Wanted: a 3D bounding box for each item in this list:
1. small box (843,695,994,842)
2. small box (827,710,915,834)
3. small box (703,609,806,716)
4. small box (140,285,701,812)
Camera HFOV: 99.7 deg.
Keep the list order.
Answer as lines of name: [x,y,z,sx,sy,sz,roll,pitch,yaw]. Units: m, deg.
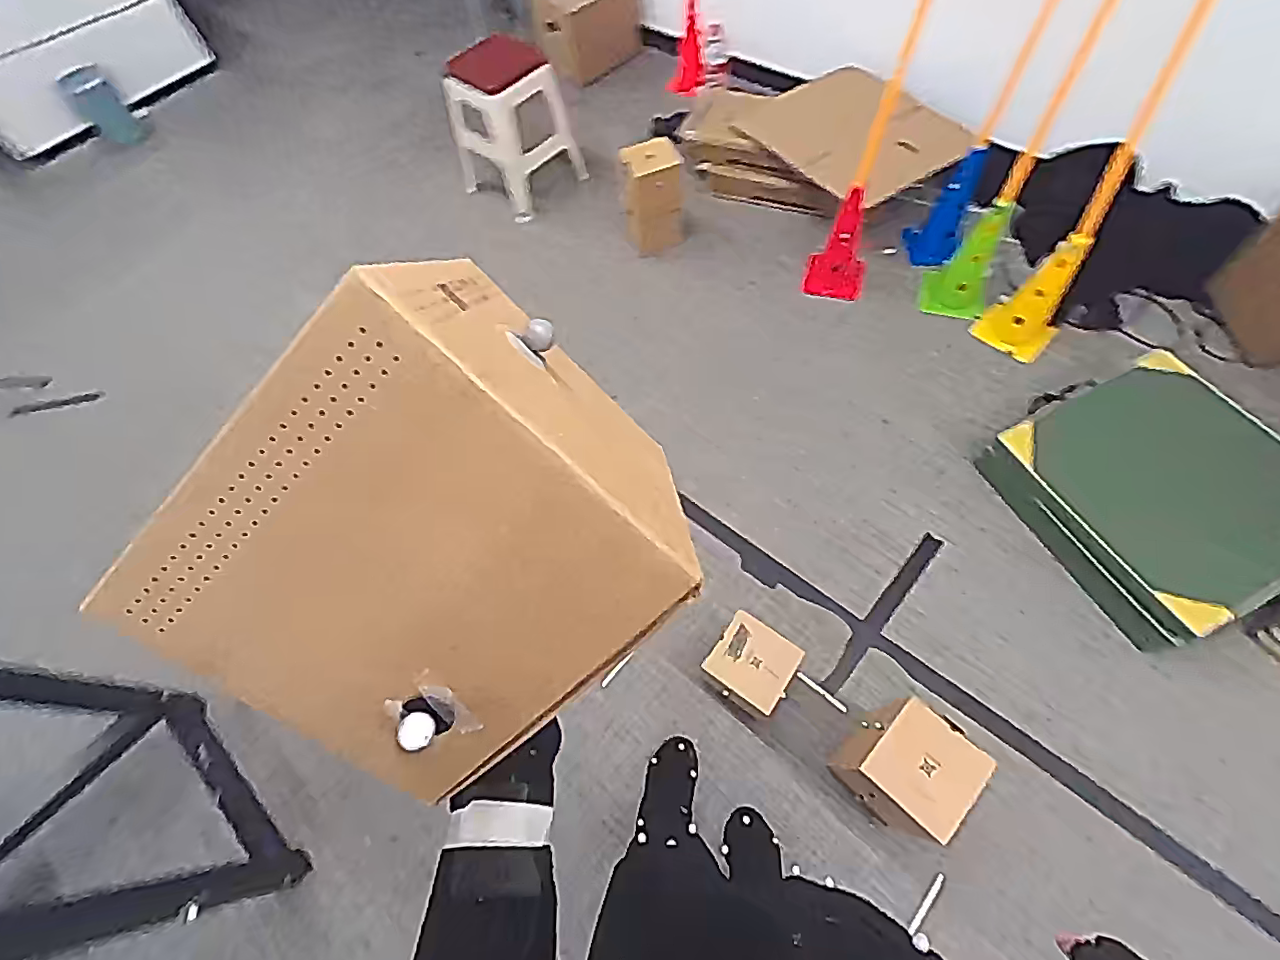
small box: [0.515,0.540,1.028,0.179,0.176,0.168,-43,66,-15]
small box: [0.538,0.617,1.170,0.168,0.176,0.179,-42,68,-16]
small box: [0.263,0.440,1.287,0.179,0.176,0.168,32,70,19]
small box: [-0.099,0.022,0.289,0.179,0.176,0.168,-43,20,12]
